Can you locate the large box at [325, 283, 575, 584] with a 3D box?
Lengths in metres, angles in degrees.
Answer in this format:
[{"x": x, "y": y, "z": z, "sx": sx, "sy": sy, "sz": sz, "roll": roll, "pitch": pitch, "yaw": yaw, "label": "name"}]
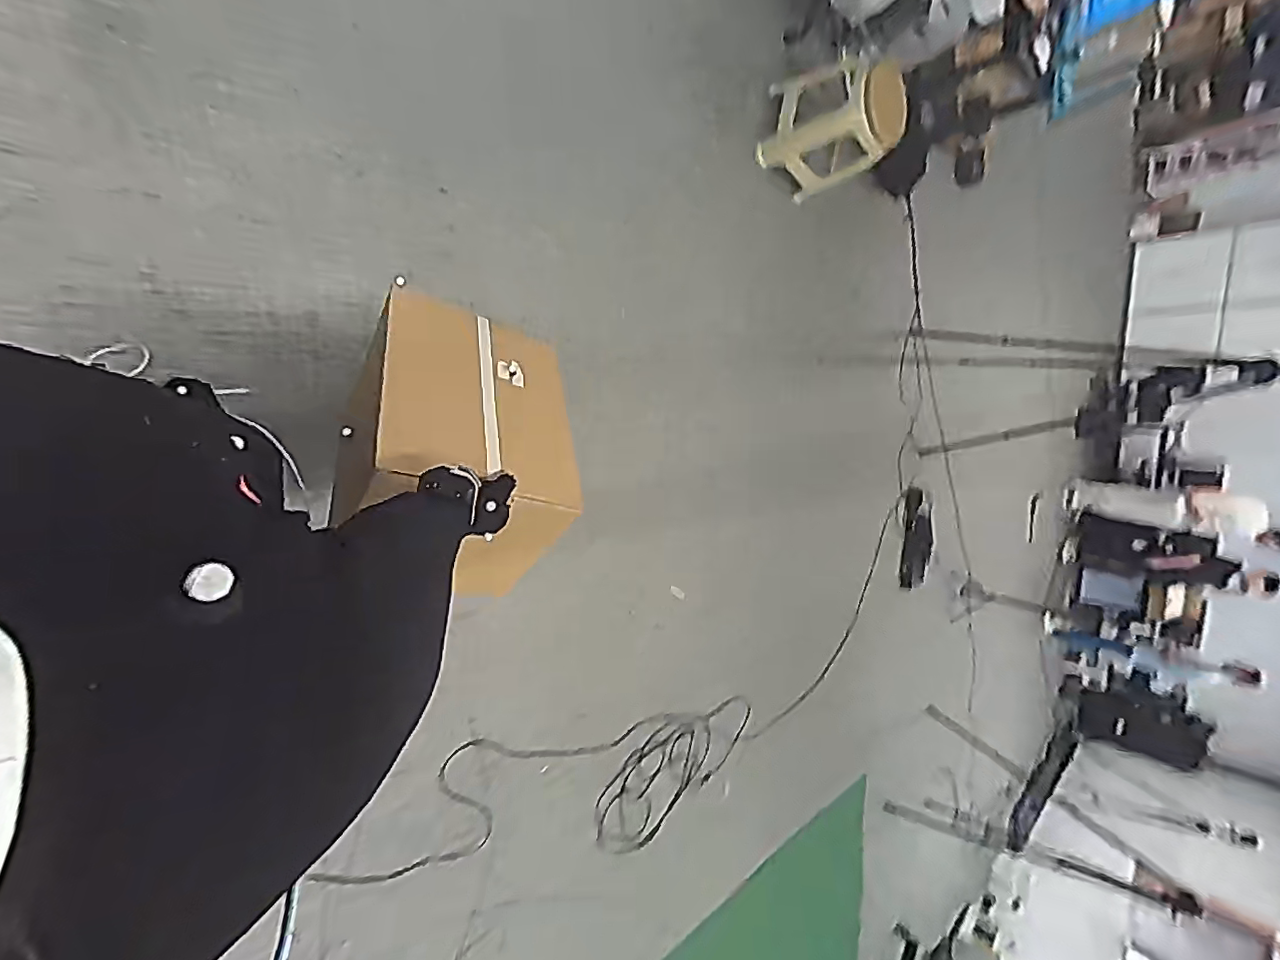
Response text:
[{"x": -0.351, "y": -0.063, "z": 0.982, "sx": 0.320, "sy": 0.320, "sz": 0.408, "roll": 16, "pitch": 46, "yaw": -36, "label": "large box"}]
